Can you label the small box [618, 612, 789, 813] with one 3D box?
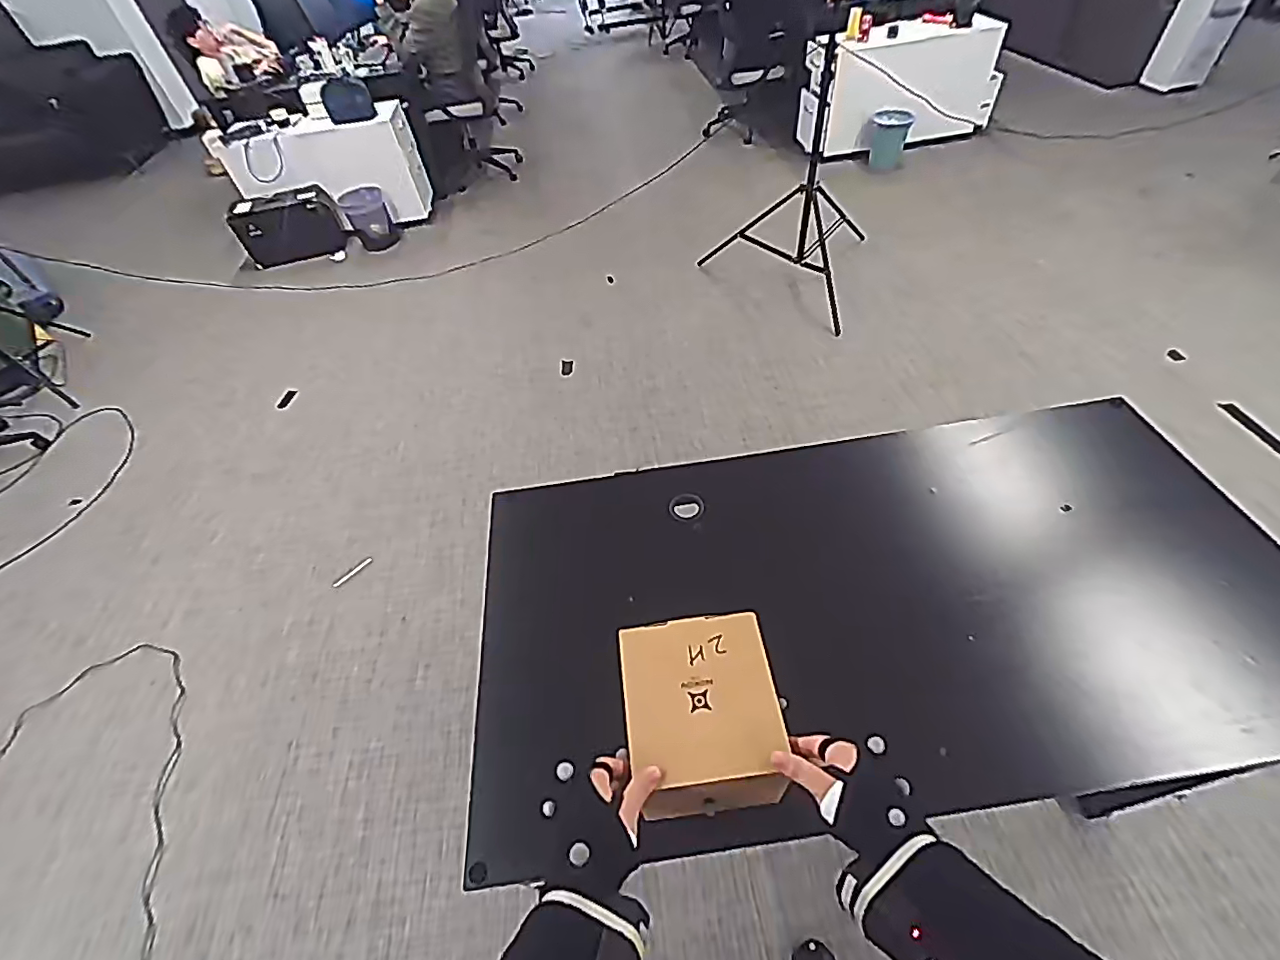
[{"bbox_3d":[0.070,0.286,0.652,0.168,0.176,0.179,-8,49,0],"label":"small box"}]
